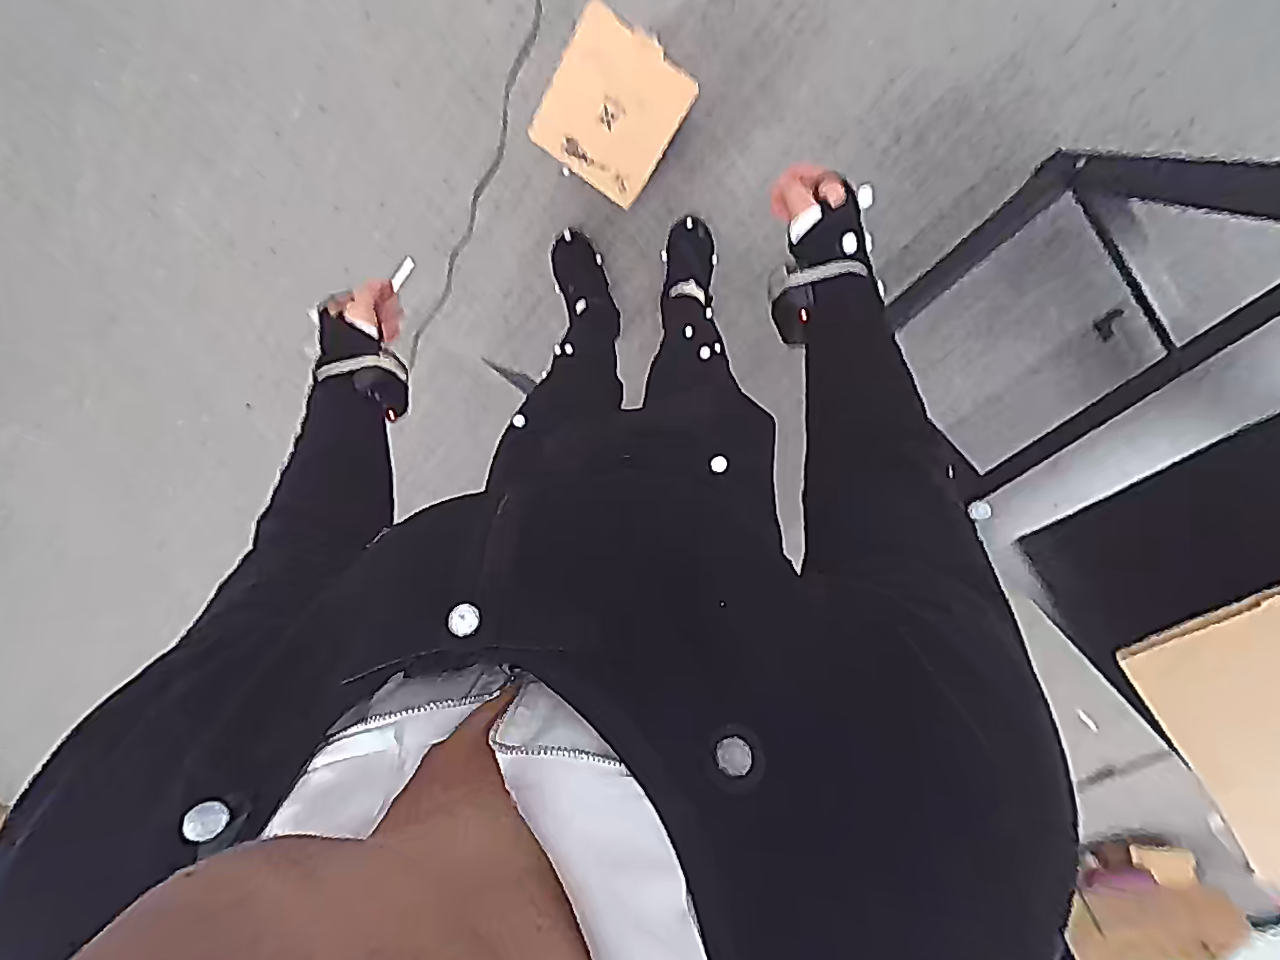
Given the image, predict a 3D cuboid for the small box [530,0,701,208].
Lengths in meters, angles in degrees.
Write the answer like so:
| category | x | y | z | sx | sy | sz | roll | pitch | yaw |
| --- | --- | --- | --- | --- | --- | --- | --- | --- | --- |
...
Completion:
| category | x | y | z | sx | sy | sz | roll | pitch | yaw |
| --- | --- | --- | --- | --- | --- | --- | --- | --- | --- |
| small box | -0.034 | -0.529 | 0.778 | 0.168 | 0.176 | 0.179 | 31 | 118 | -16 |
